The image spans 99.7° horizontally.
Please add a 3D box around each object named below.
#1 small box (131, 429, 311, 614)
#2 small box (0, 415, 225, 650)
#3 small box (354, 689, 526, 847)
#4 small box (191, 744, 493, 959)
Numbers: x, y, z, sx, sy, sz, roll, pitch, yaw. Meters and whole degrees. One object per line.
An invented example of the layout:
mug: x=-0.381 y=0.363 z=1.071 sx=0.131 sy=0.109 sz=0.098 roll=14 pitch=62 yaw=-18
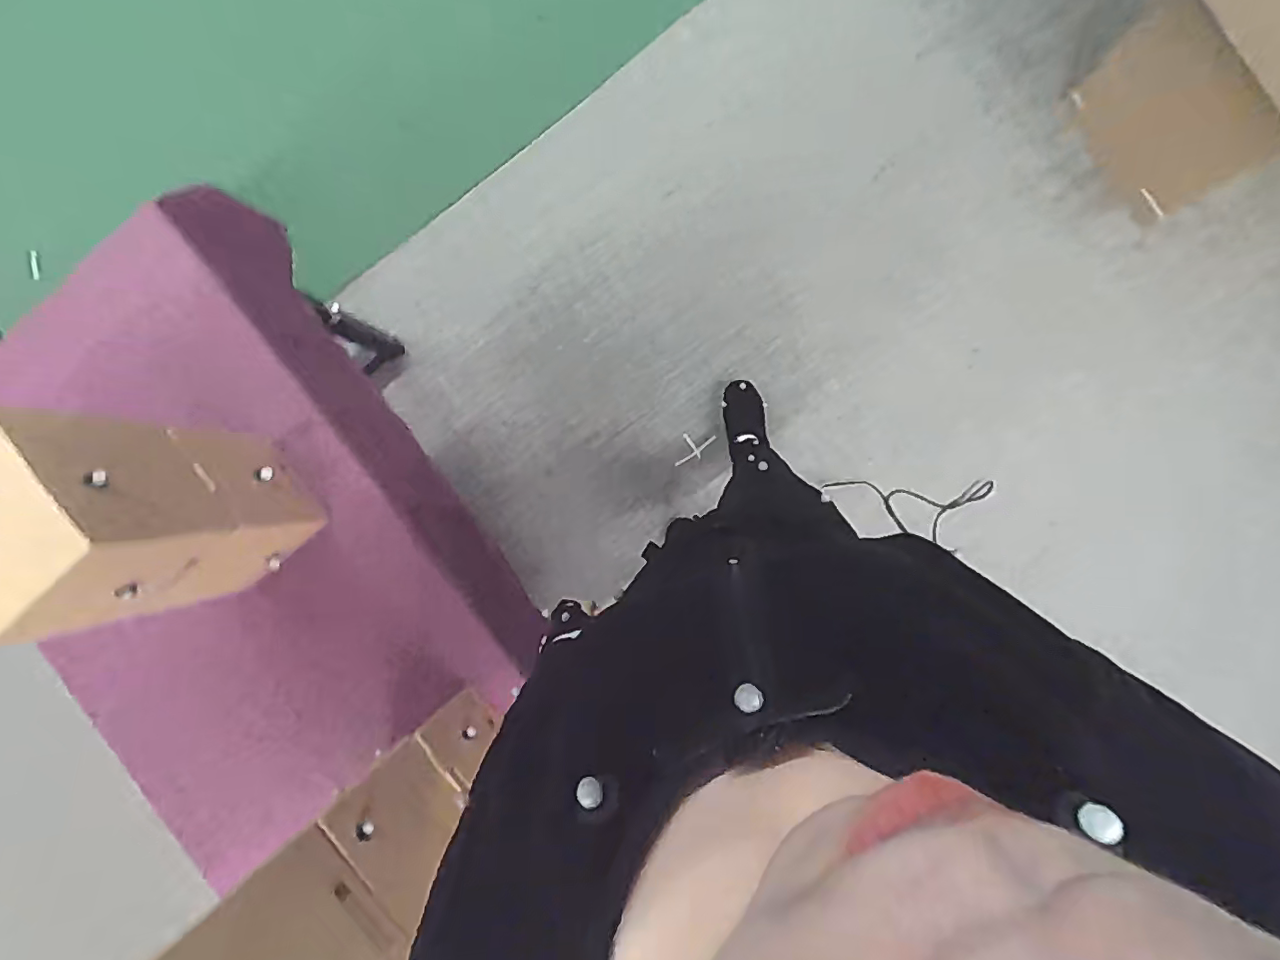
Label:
small box: x=-0.599 y=0.050 z=0.746 sx=0.179 sy=0.176 sz=0.168 roll=-39 pitch=87 yaw=3
small box: x=-0.611 y=0.048 z=0.581 sx=0.168 sy=0.176 sz=0.179 roll=-40 pitch=87 yaw=3
small box: x=-0.274 y=0.416 z=0.721 sx=0.179 sy=0.176 sz=0.168 roll=-41 pitch=86 yaw=4
small box: x=-0.285 y=0.420 z=0.559 sx=0.168 sy=0.176 sz=0.179 roll=-43 pitch=85 yaw=3
